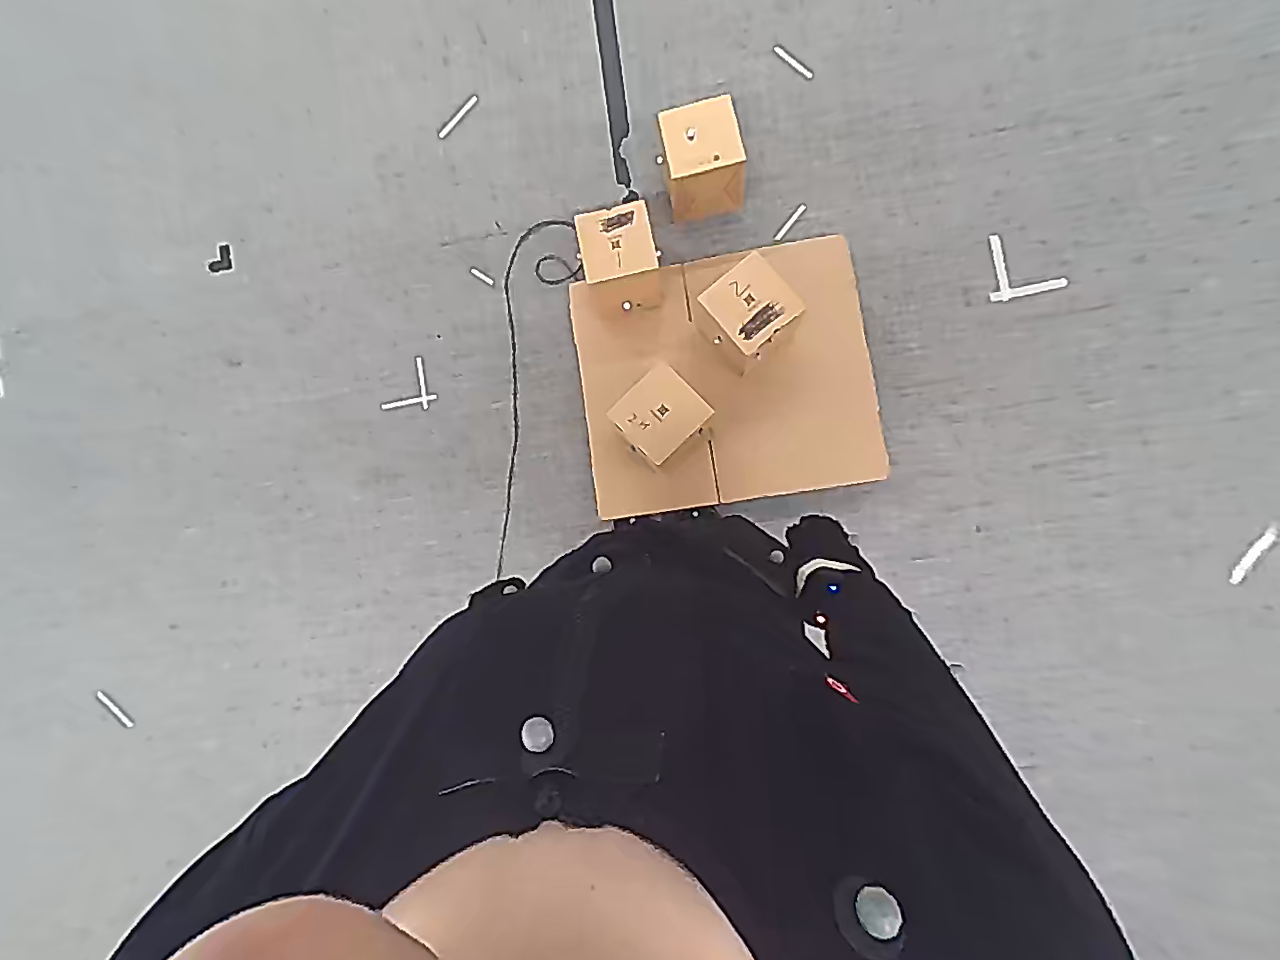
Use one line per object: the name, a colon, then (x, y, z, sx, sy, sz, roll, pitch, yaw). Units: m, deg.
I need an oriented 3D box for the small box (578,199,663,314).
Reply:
small box: (-0.042, -0.523, 1.285, 0.168, 0.176, 0.179, -12, 81, 4)

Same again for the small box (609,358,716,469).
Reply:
small box: (0.052, -0.145, 1.248, 0.179, 0.176, 0.168, -44, 83, 0)
